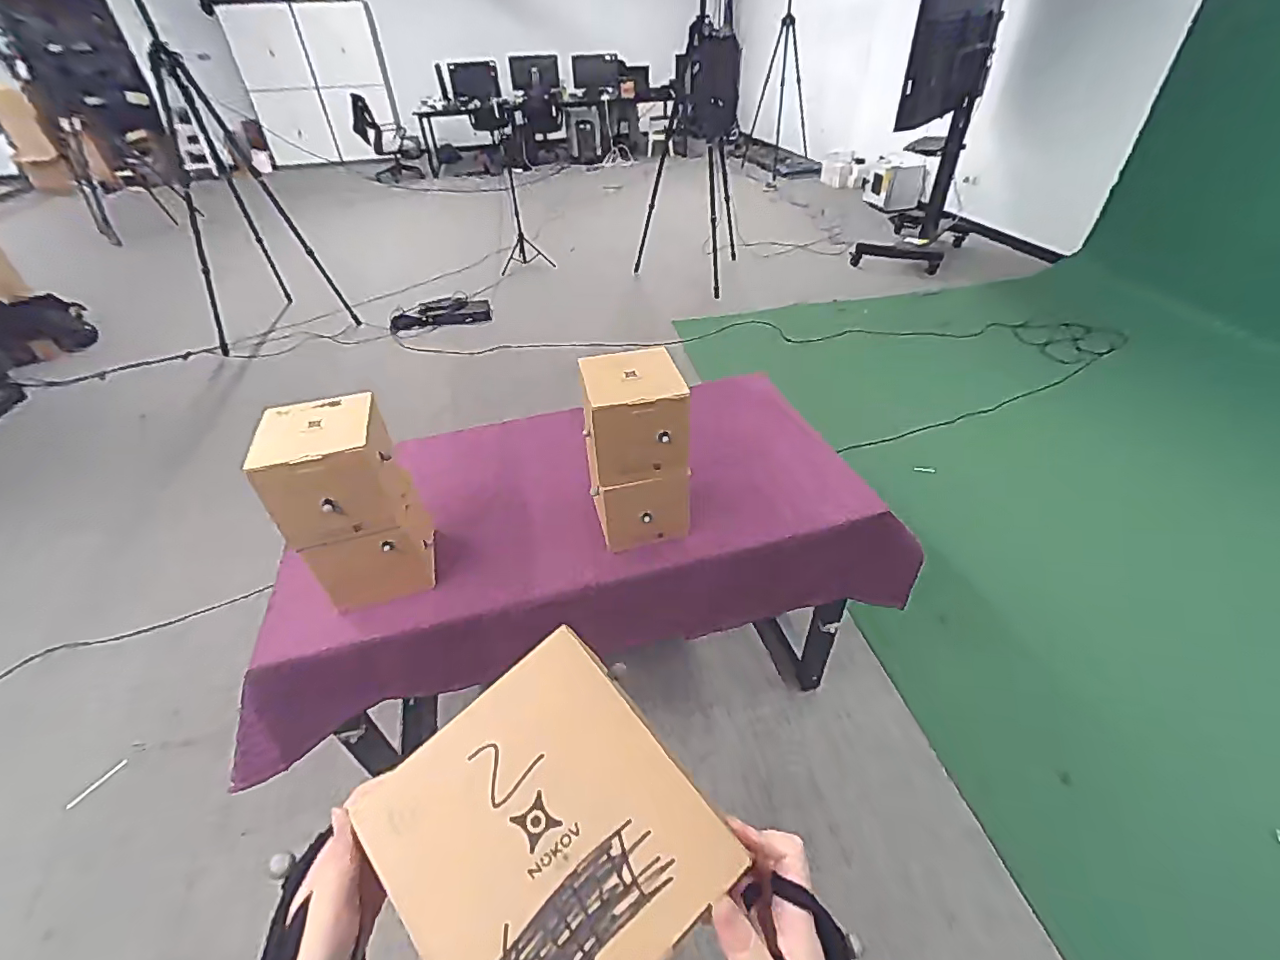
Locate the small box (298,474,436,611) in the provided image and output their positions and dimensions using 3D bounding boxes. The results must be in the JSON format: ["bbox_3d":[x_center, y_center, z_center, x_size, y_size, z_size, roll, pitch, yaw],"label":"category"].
[{"bbox_3d":[-0.490,0.117,0.999,0.179,0.176,0.168,-13,40,-12],"label":"small box"}]

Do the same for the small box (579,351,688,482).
[{"bbox_3d":[-0.011,-0.110,0.979,0.168,0.176,0.179,-10,40,-8],"label":"small box"}]

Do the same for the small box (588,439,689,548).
[{"bbox_3d":[-0.003,0.018,1.080,0.168,0.176,0.179,-11,40,-9],"label":"small box"}]

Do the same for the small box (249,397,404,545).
[{"bbox_3d":[-0.502,-0.011,0.896,0.168,0.176,0.179,-12,41,-13],"label":"small box"}]
